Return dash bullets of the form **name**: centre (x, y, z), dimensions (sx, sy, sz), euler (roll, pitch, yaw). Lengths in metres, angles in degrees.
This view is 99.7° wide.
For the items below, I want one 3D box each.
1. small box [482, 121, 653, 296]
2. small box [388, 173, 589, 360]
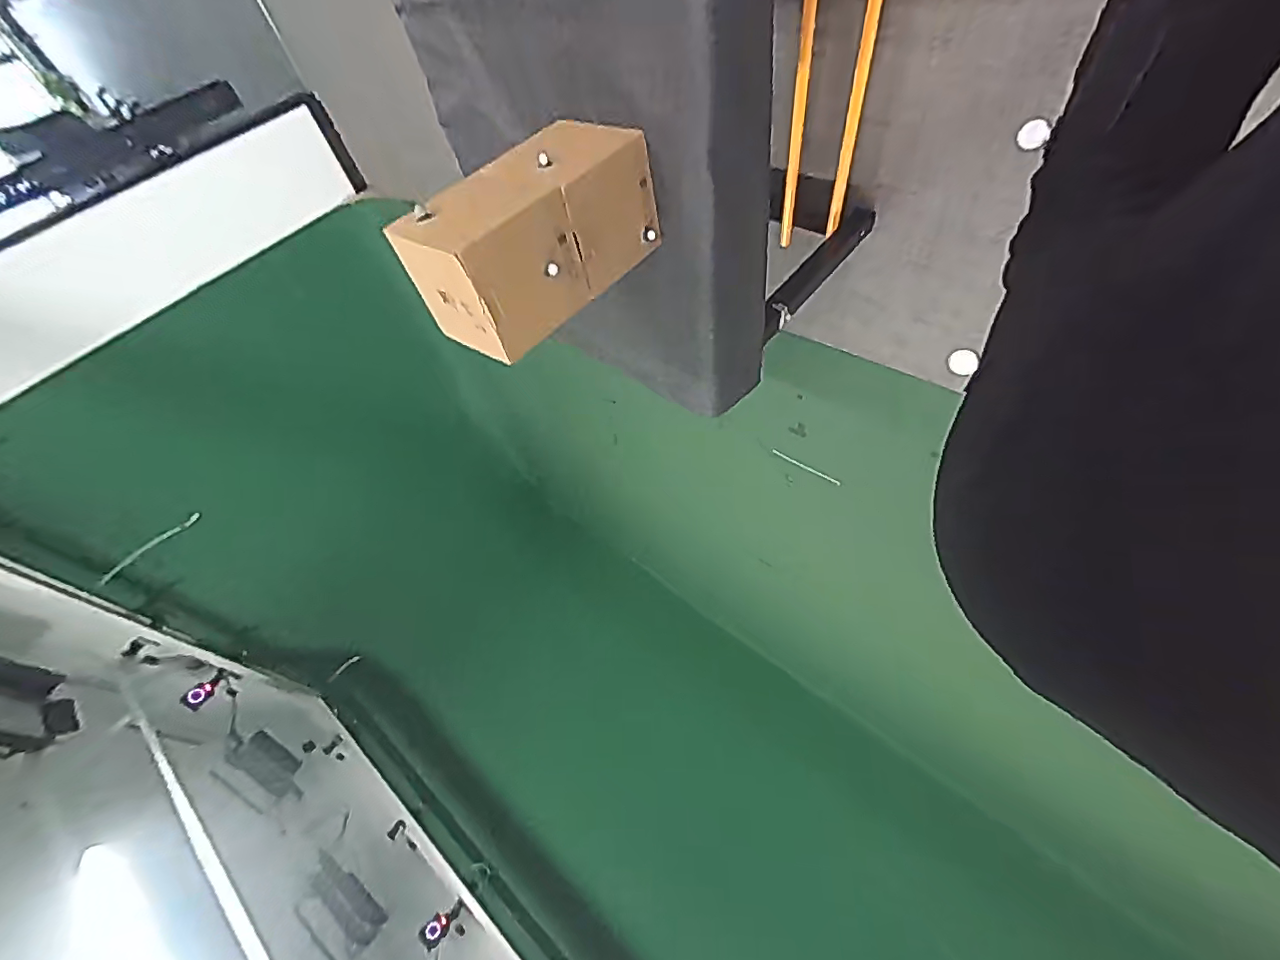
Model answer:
- **small box**: centre (-0.095, -0.412, 0.814), dimensions (0.179, 0.176, 0.168), euler (30, 154, 31)
- **small box**: centre (-0.201, -0.302, 0.753), dimensions (0.179, 0.176, 0.168), euler (28, 154, 32)
